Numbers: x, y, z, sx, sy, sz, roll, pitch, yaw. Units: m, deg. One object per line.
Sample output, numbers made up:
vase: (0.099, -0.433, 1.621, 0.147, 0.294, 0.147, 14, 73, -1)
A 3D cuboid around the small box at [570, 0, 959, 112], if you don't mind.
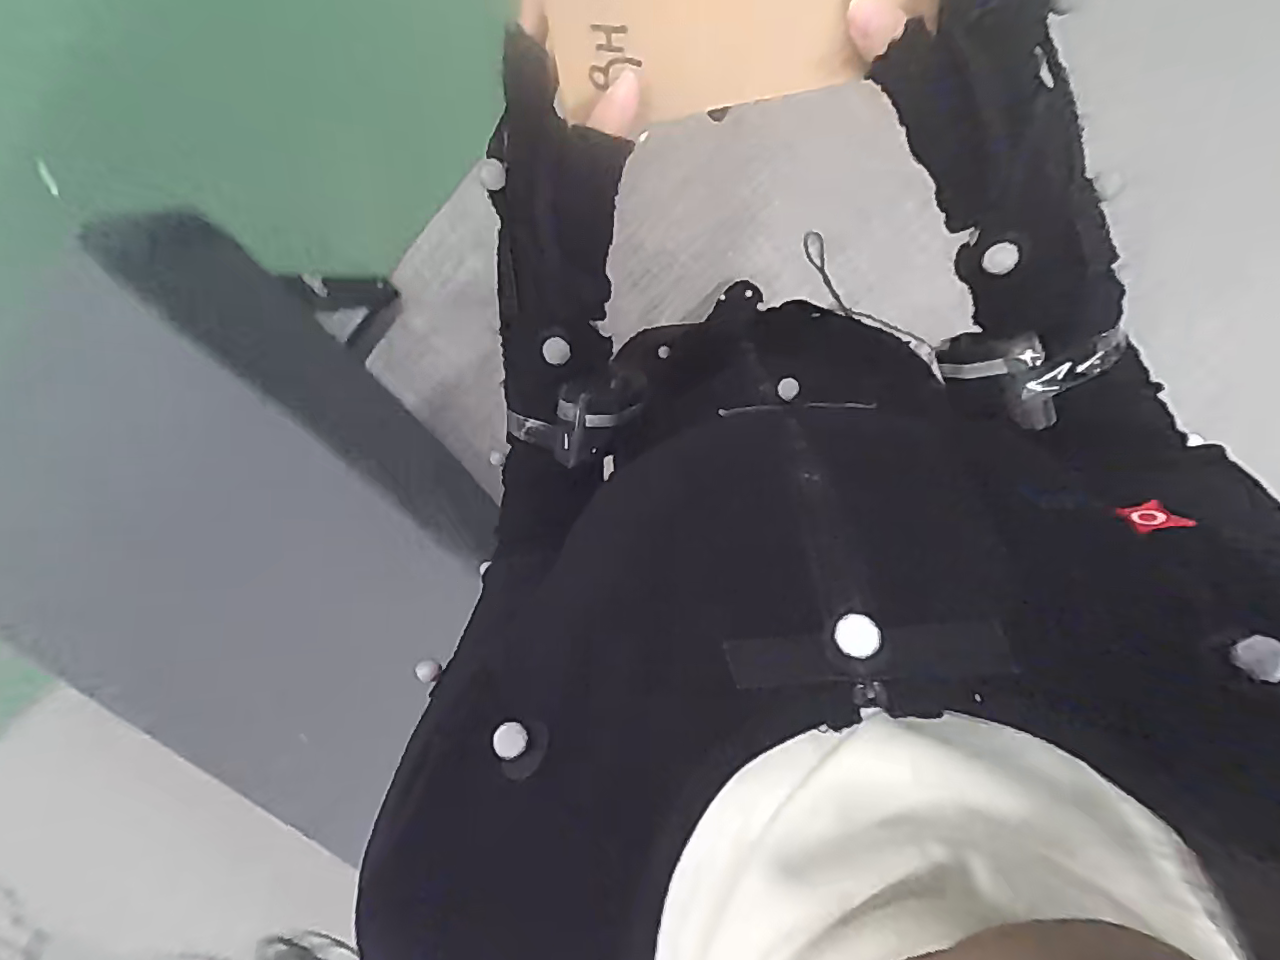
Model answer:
small box: (0.048, -0.302, 0.272, 0.179, 0.176, 0.168, -7, 127, 4)
